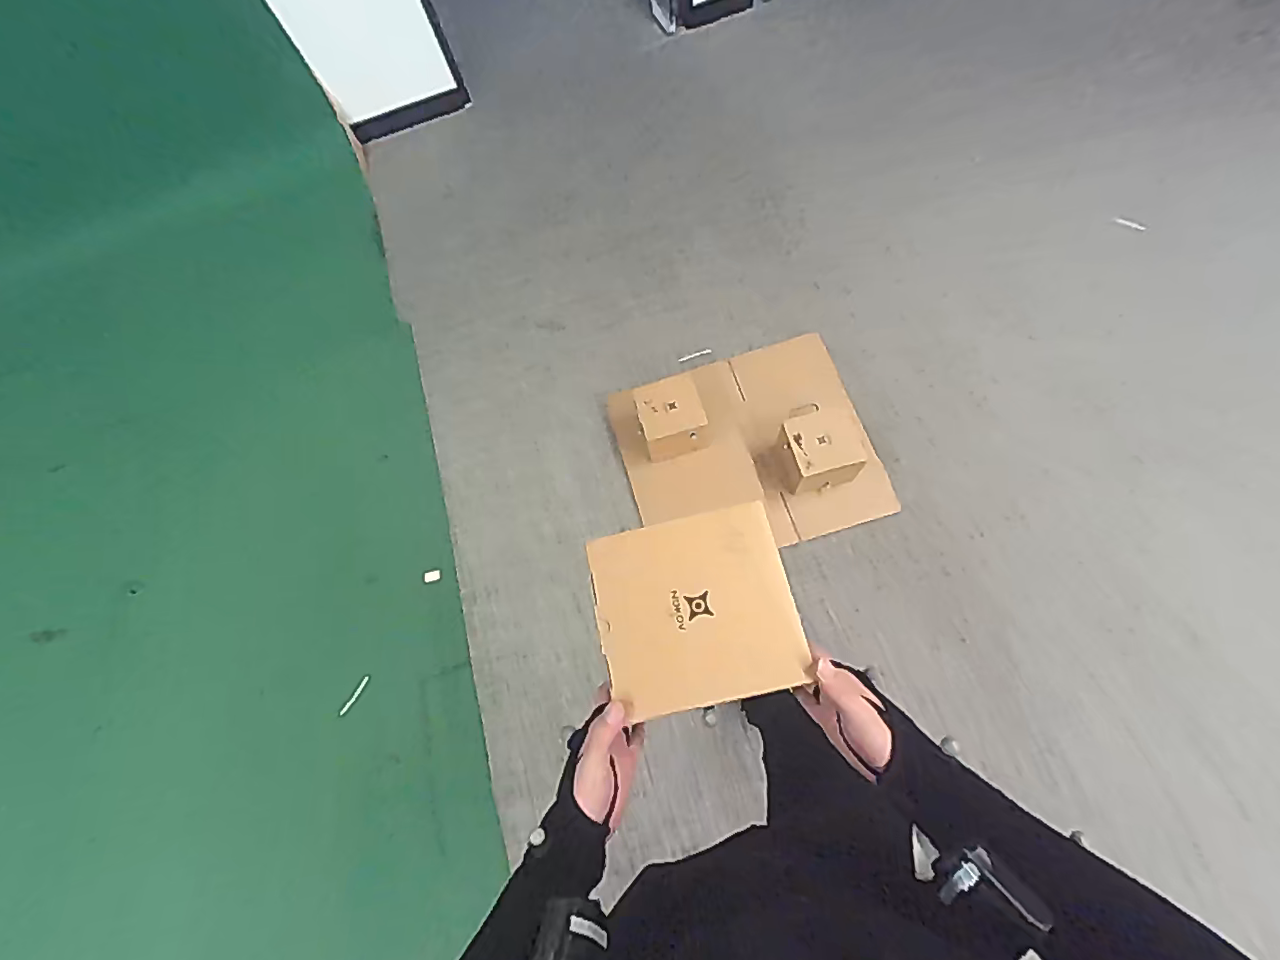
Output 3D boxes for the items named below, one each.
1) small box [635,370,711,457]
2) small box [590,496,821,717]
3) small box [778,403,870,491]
[{"bbox_3d":[0.094,-0.183,1.539,0.179,0.176,0.168,-16,71,2],"label":"small box"},{"bbox_3d":[0.062,0.134,0.556,0.179,0.176,0.168,-15,68,4],"label":"small box"},{"bbox_3d":[0.489,-0.085,1.463,0.179,0.176,0.168,-14,71,2],"label":"small box"}]
